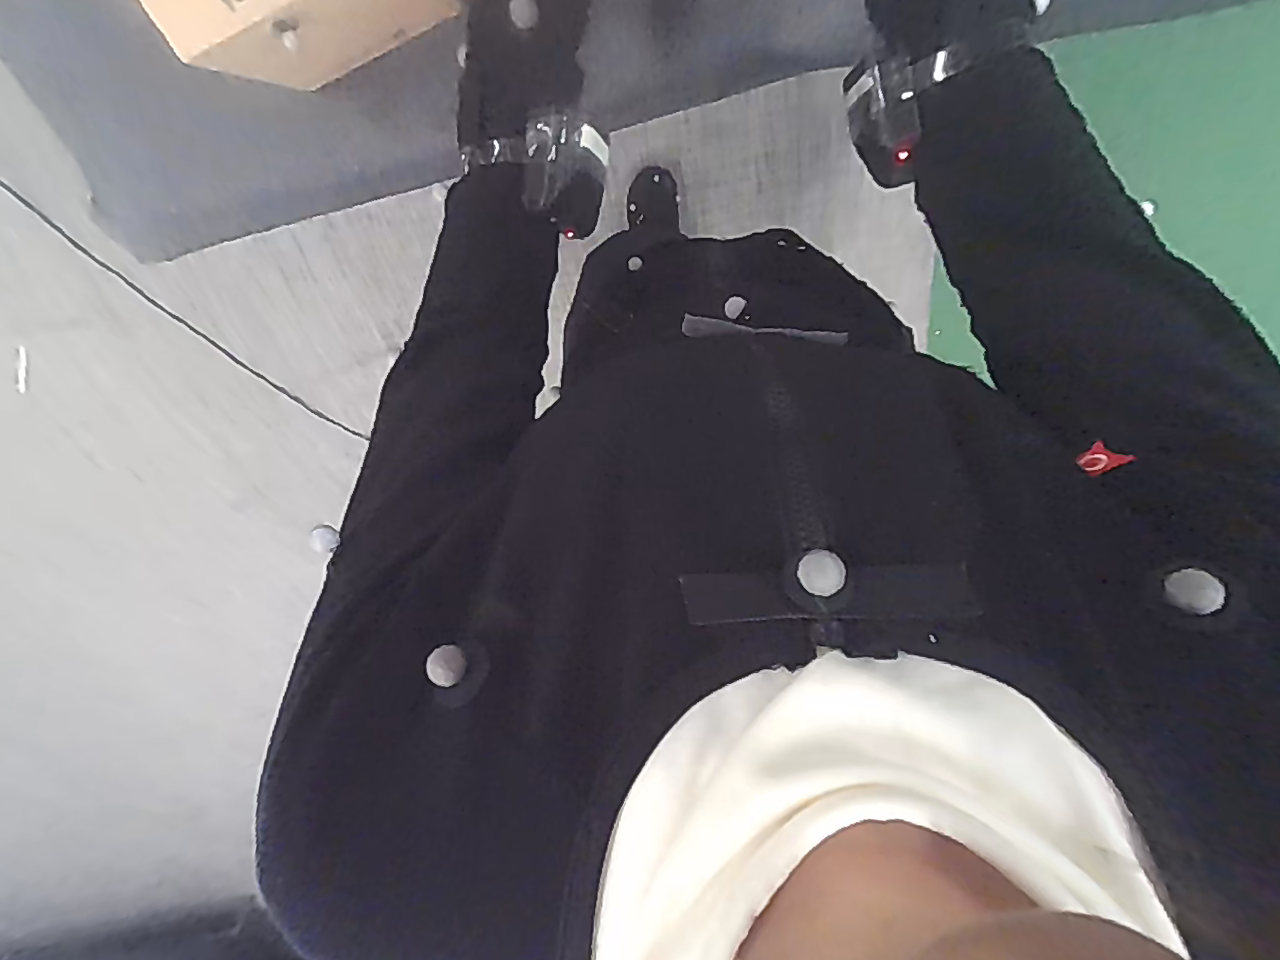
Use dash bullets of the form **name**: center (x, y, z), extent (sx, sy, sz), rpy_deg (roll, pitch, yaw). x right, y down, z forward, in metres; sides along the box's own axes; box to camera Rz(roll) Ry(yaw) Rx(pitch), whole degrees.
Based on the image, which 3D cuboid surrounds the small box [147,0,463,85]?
- **small box**: center (-0.250, -0.407, 0.366), extent (0.168, 0.176, 0.179), rpy_deg (-19, 118, 10)
